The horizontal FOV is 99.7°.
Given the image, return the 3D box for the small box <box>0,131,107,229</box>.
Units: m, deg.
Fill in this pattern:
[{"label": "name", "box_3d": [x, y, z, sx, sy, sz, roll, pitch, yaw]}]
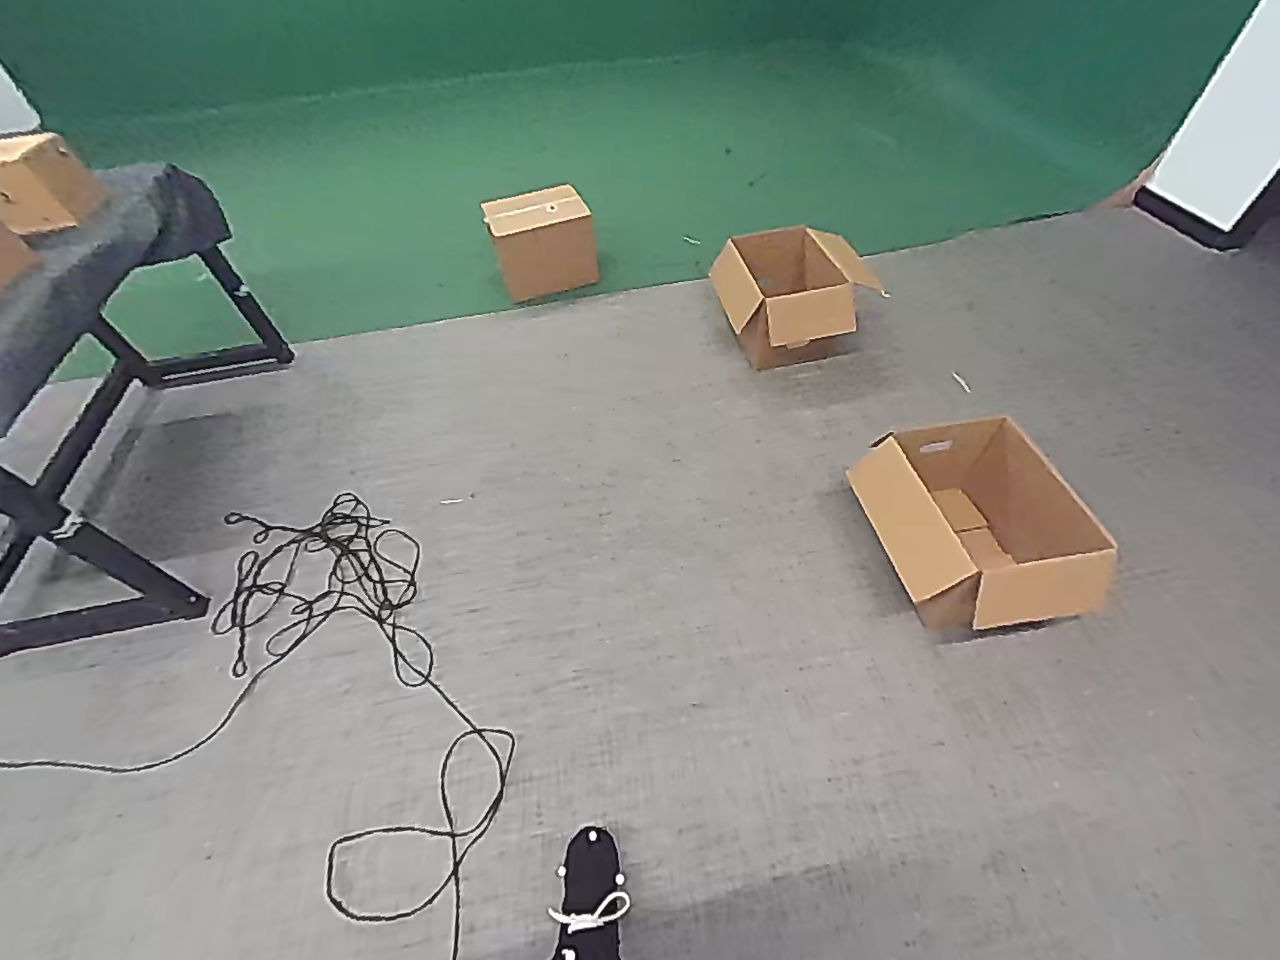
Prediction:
[{"label": "small box", "box_3d": [-1.560, -0.771, 1.402, 0.168, 0.176, 0.179, -9, 52, -2]}]
